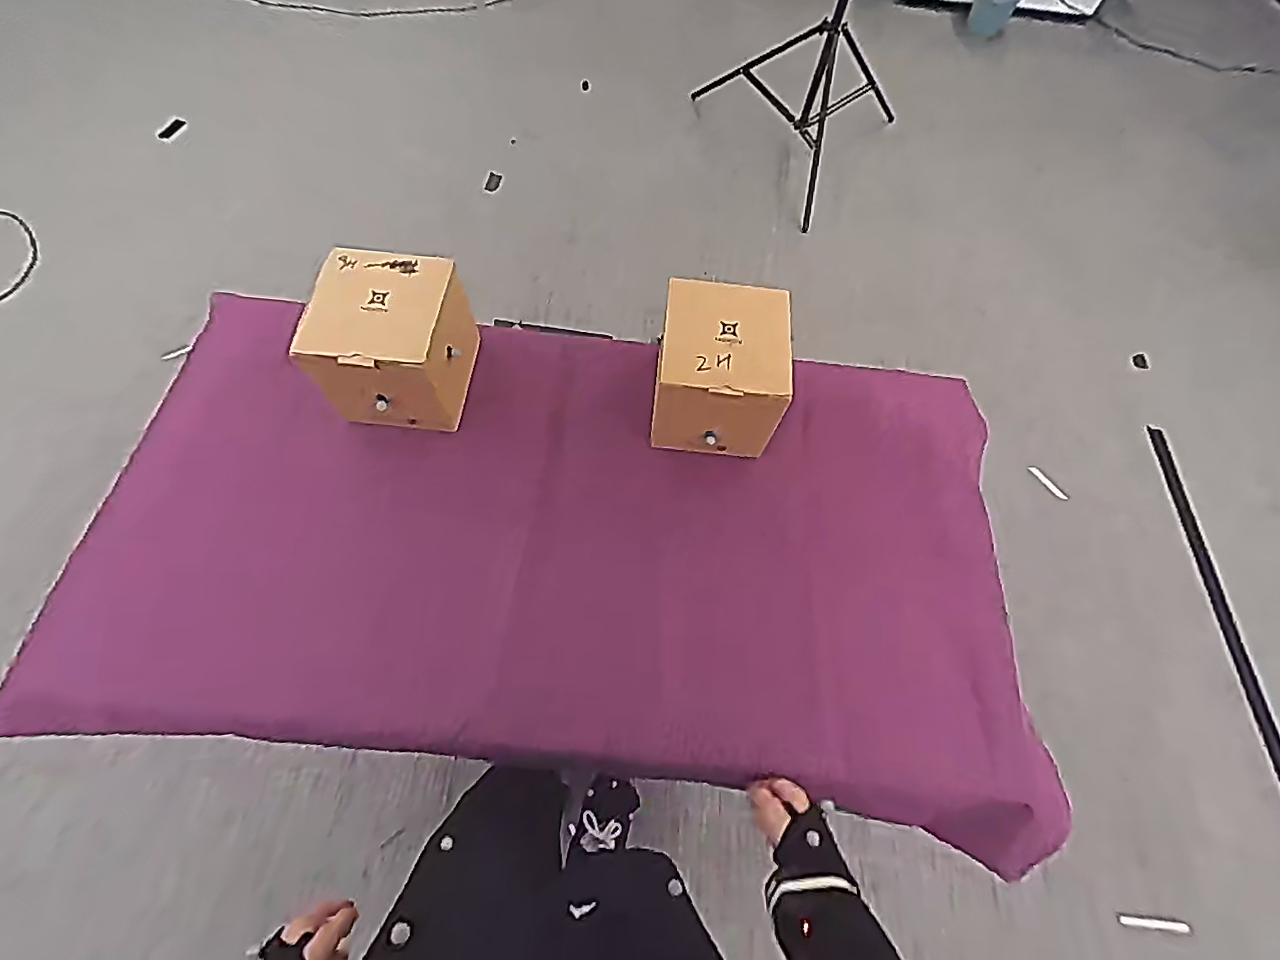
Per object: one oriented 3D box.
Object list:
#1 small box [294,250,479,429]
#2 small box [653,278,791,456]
[{"bbox_3d":[-0.338,-0.188,0.762,0.168,0.176,0.179,6,67,-1],"label":"small box"},{"bbox_3d":[0.109,-0.155,0.772,0.168,0.176,0.179,6,66,0],"label":"small box"}]
